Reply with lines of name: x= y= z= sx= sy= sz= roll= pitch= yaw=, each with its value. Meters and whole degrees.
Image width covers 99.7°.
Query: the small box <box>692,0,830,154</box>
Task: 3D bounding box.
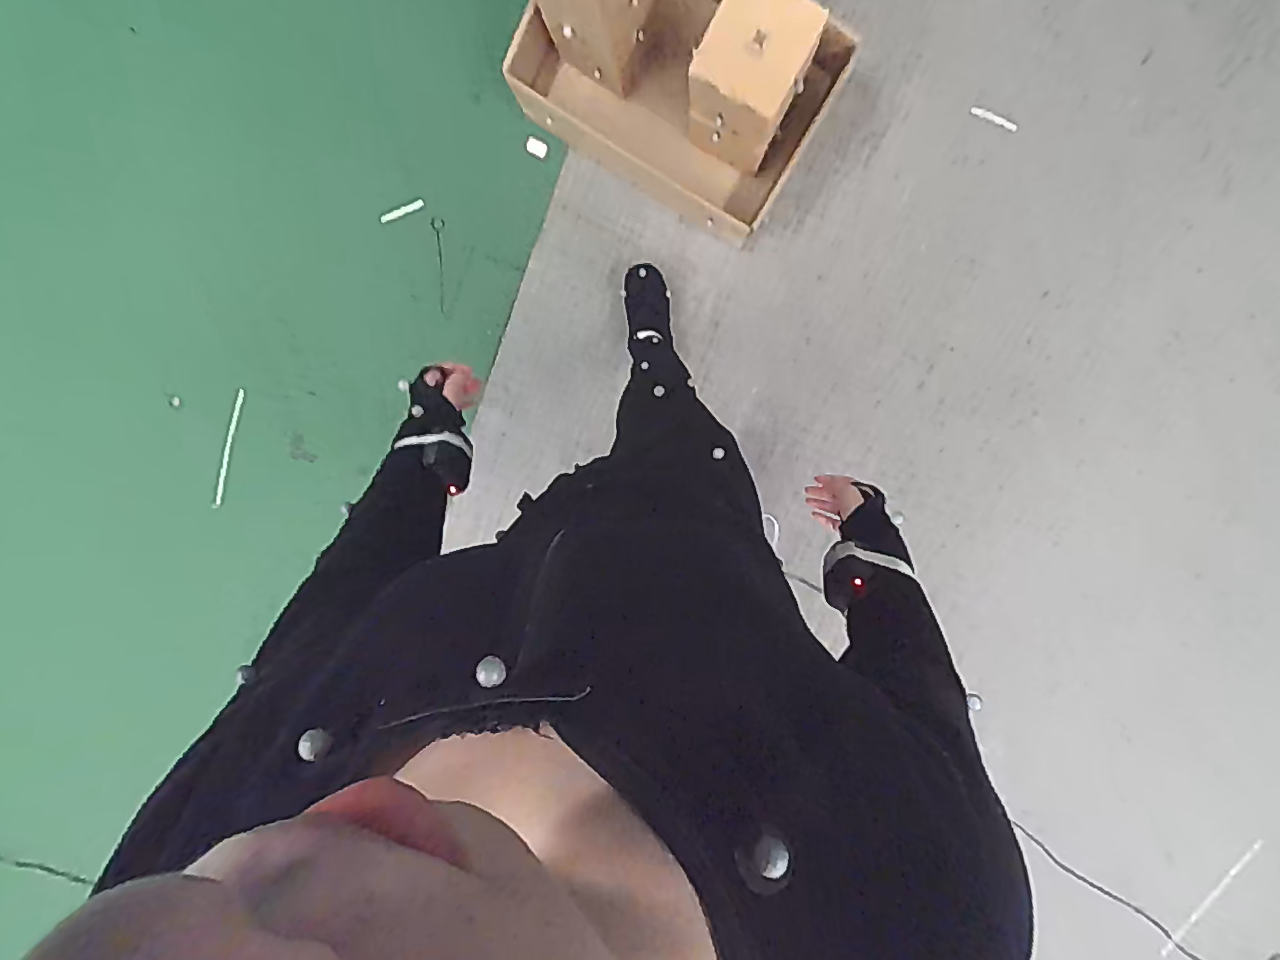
small box: x=0.203 y=-0.730 z=0.966 sx=0.168 sy=0.176 sz=0.179 roll=30 pitch=106 yaw=-2

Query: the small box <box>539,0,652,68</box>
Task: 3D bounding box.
small box: x=-0.078 y=-0.891 z=0.953 sx=0.168 sy=0.176 sz=0.179 roll=34 pitch=105 yaw=-5
